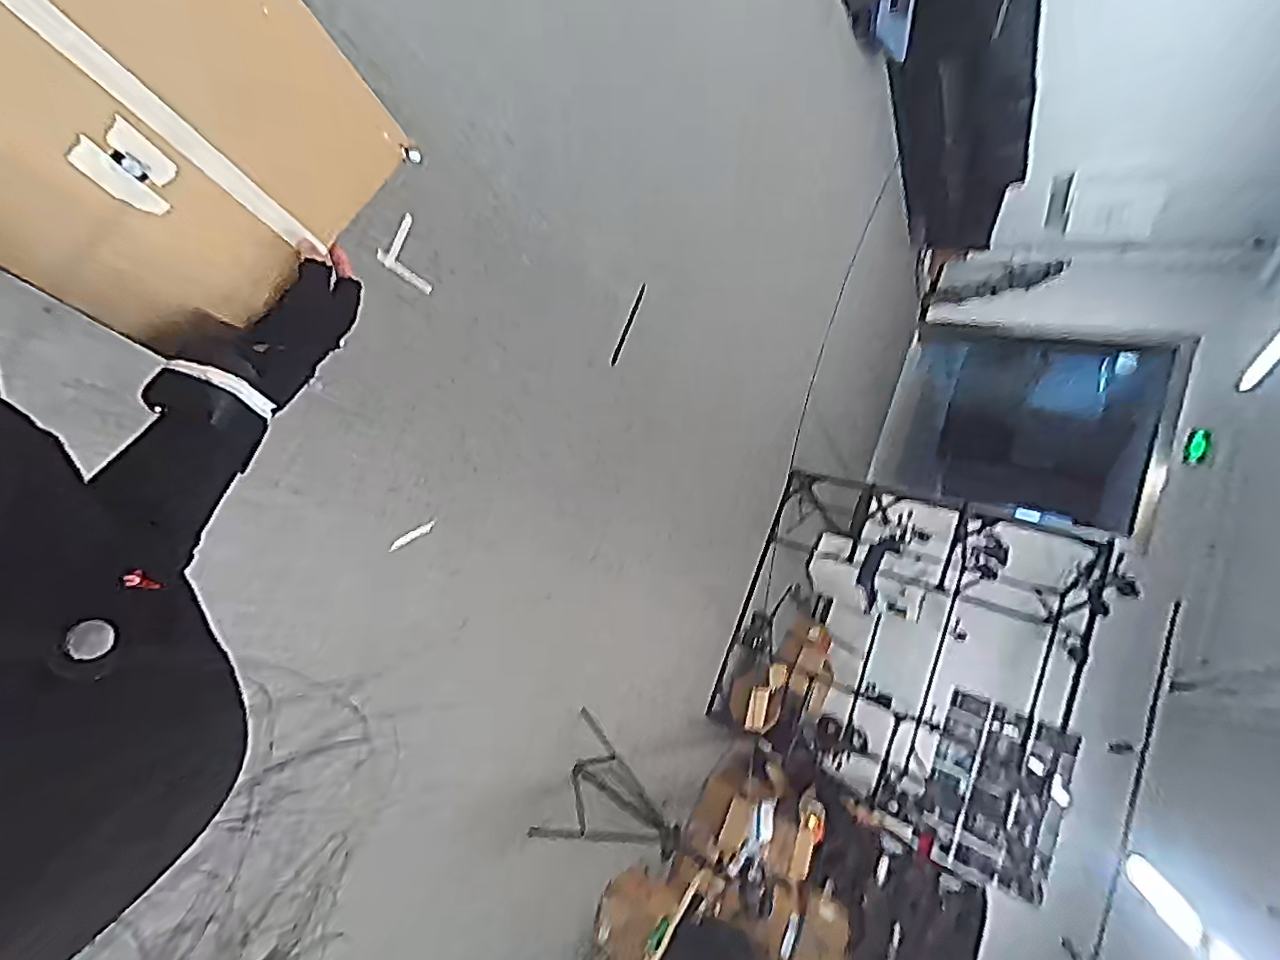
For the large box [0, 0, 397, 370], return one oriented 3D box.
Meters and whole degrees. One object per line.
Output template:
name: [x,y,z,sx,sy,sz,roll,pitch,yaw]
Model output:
large box: [-0.521,-0.359,0.454,0.320,0.320,0.408,-58,147,-11]
